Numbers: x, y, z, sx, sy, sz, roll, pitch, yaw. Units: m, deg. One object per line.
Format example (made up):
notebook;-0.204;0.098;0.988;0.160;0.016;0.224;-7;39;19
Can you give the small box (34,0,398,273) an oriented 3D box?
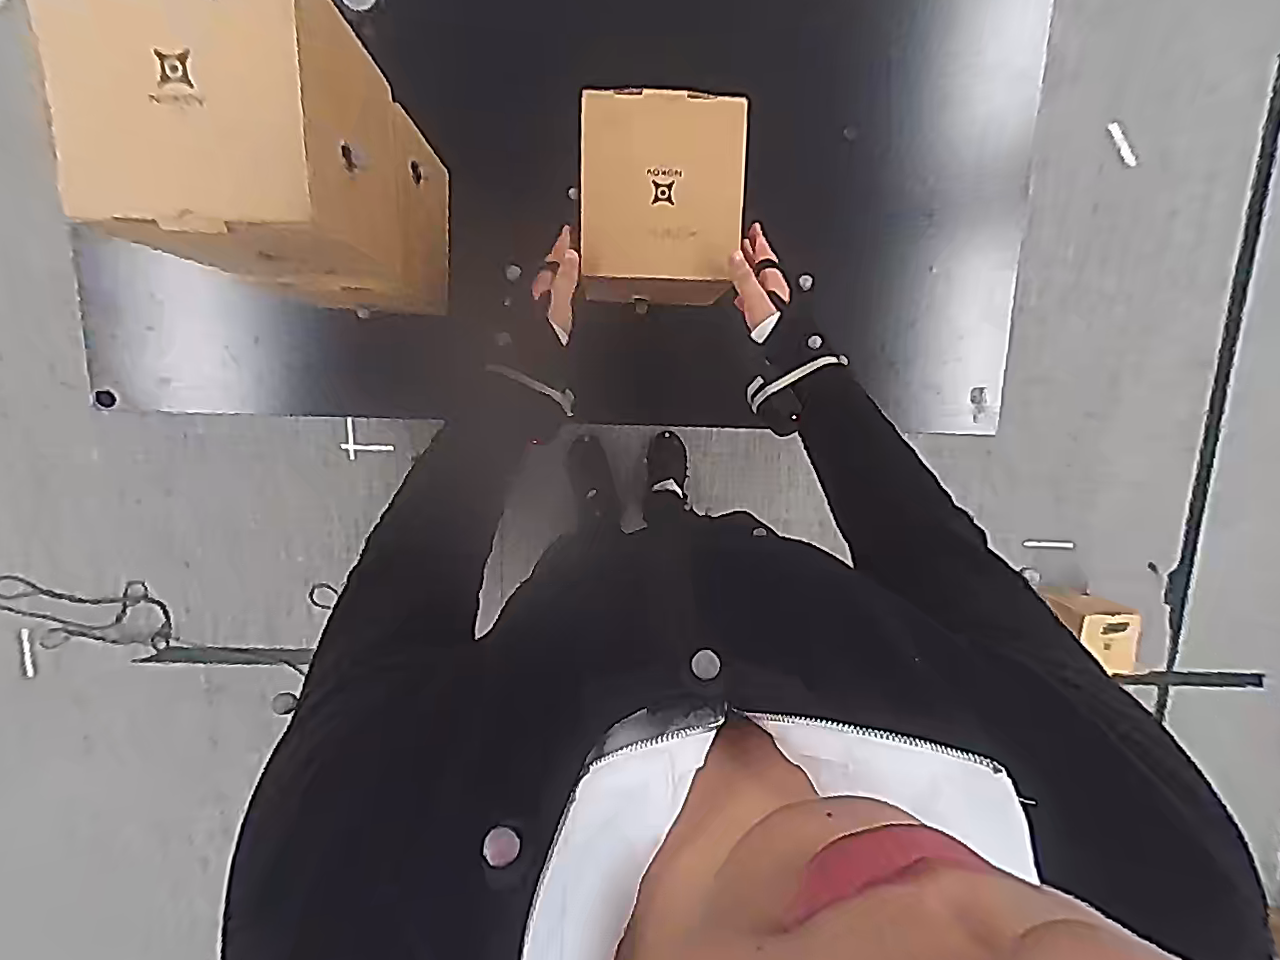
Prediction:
small box;-0.312;-0.274;0.441;0.168;0.176;0.179;0;100;-4

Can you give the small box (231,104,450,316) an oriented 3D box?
small box;-0.319;-0.290;0.604;0.168;0.176;0.179;3;99;-3

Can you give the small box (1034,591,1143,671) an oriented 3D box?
small box;1.273;0.426;1.548;0.168;0.176;0.179;0;100;-3

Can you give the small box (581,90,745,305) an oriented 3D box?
small box;0.018;-0.307;0.623;0.168;0.176;0.179;0;100;-2
